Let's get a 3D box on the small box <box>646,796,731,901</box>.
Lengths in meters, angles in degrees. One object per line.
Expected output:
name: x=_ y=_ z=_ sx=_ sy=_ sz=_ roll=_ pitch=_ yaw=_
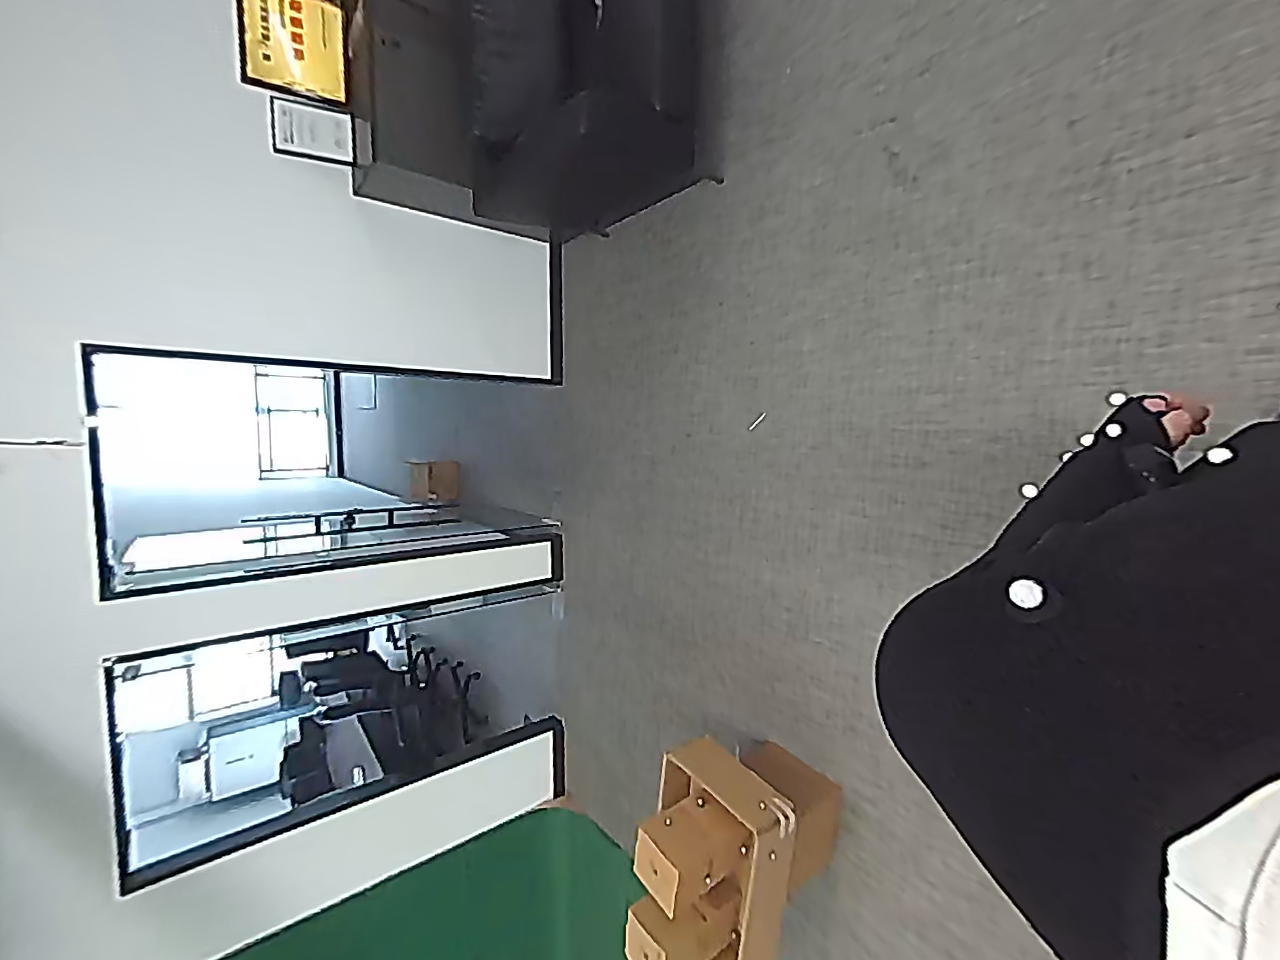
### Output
small box: x=0.142 y=1.085 z=1.616 sx=0.179 sy=0.176 sz=0.168 roll=24 pitch=112 yaw=49

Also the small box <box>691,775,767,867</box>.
small box: x=0.271 y=1.072 z=1.714 sx=0.179 sy=0.176 sz=0.168 roll=25 pitch=113 yaw=49

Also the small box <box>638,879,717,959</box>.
small box: x=0.114 y=1.369 z=1.676 sx=0.179 sy=0.176 sz=0.168 roll=15 pitch=105 yaw=51
